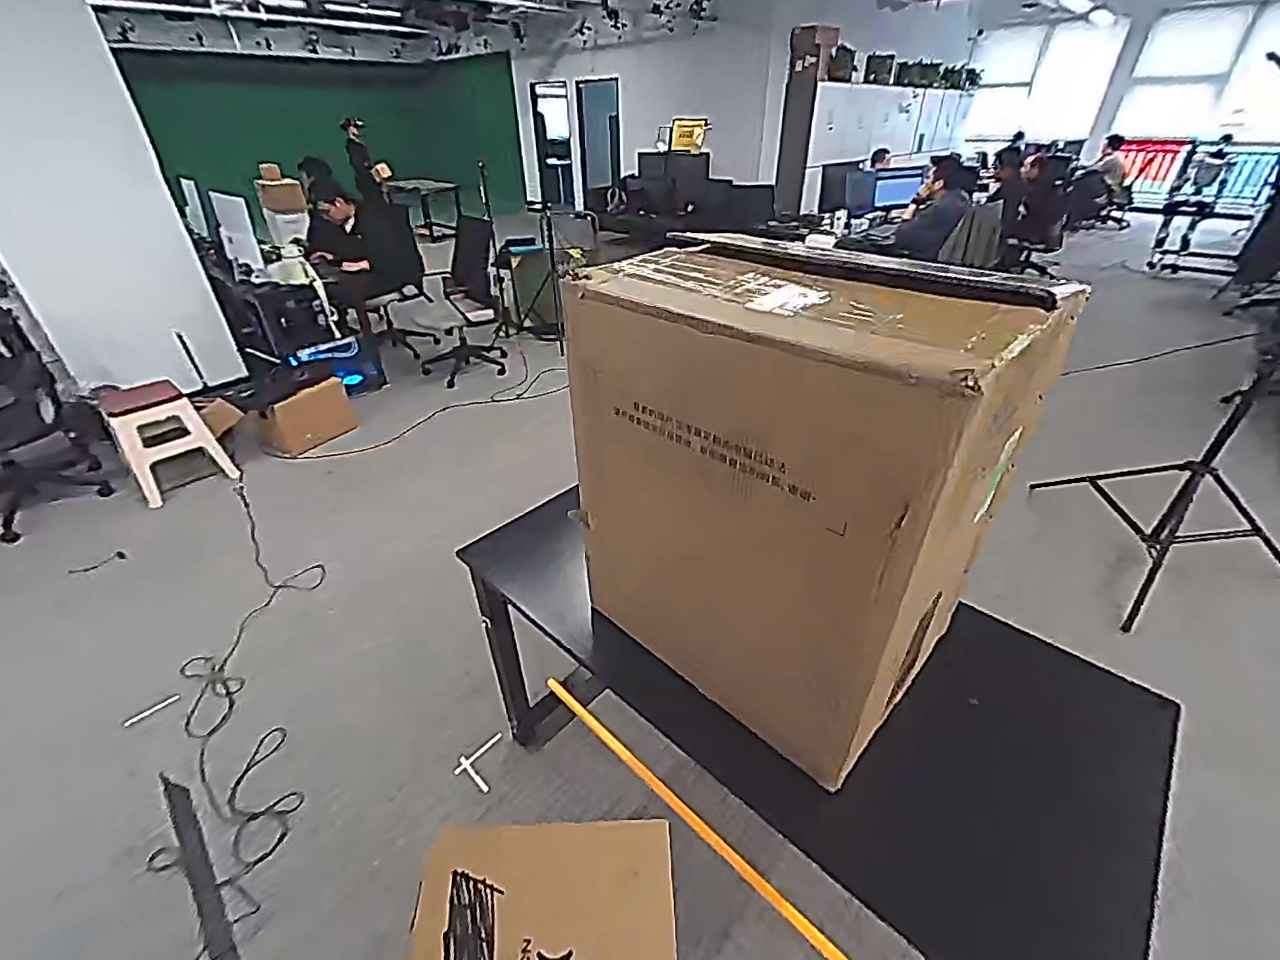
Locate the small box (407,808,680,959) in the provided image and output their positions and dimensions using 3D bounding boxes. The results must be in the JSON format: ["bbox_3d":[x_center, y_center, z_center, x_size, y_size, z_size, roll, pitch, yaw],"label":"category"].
[{"bbox_3d":[-0.064,0.359,0.400,0.179,0.176,0.168,0,46,-3],"label":"small box"}]
